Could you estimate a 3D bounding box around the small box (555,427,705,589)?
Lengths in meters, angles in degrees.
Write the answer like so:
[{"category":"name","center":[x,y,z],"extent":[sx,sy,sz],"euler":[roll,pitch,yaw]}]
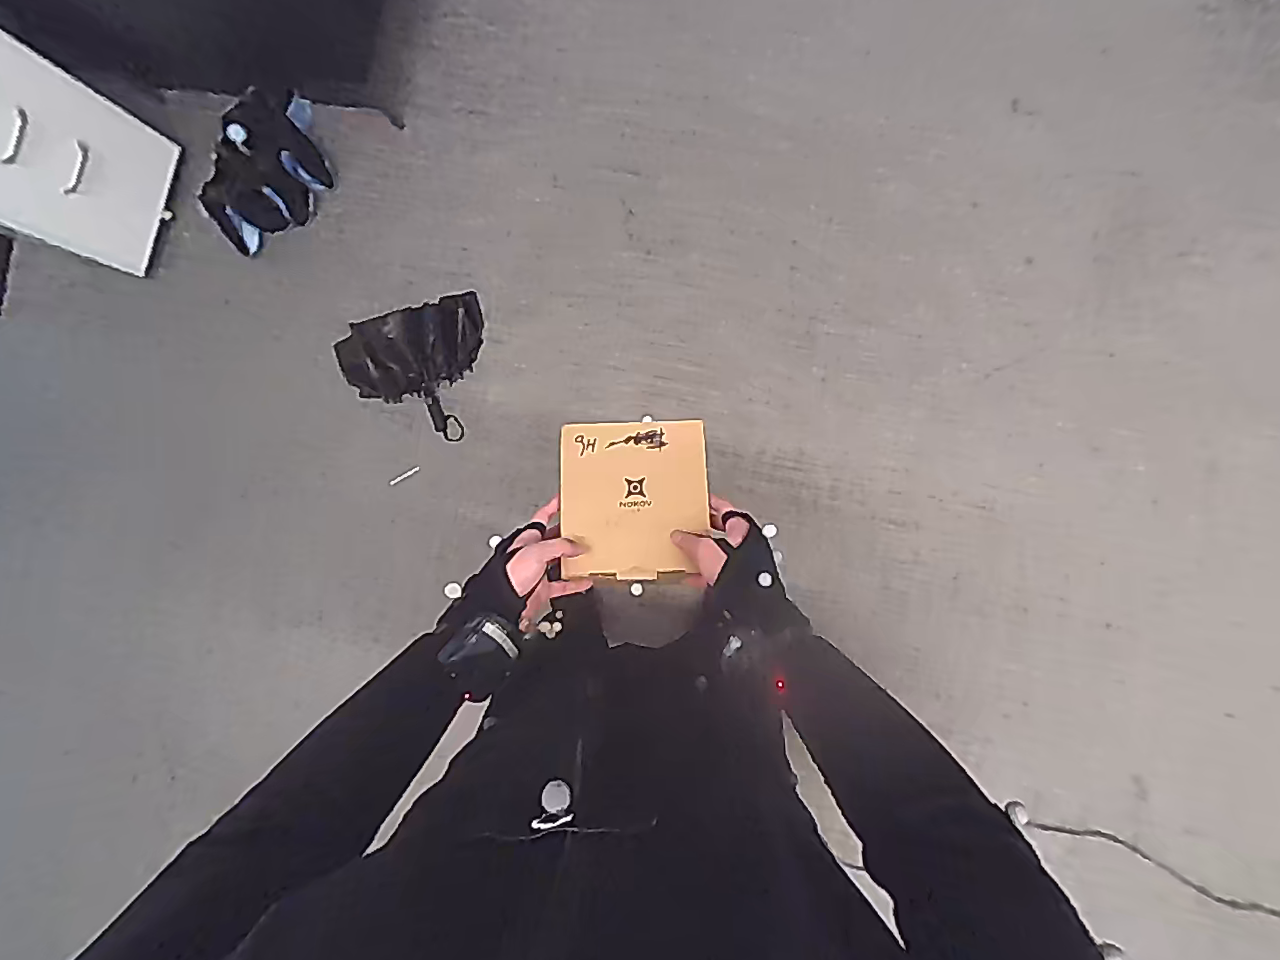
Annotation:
[{"category":"small box","center":[-0.008,0.045,0.676],"extent":[0.168,0.176,0.179],"euler":[-2,75,1]}]
